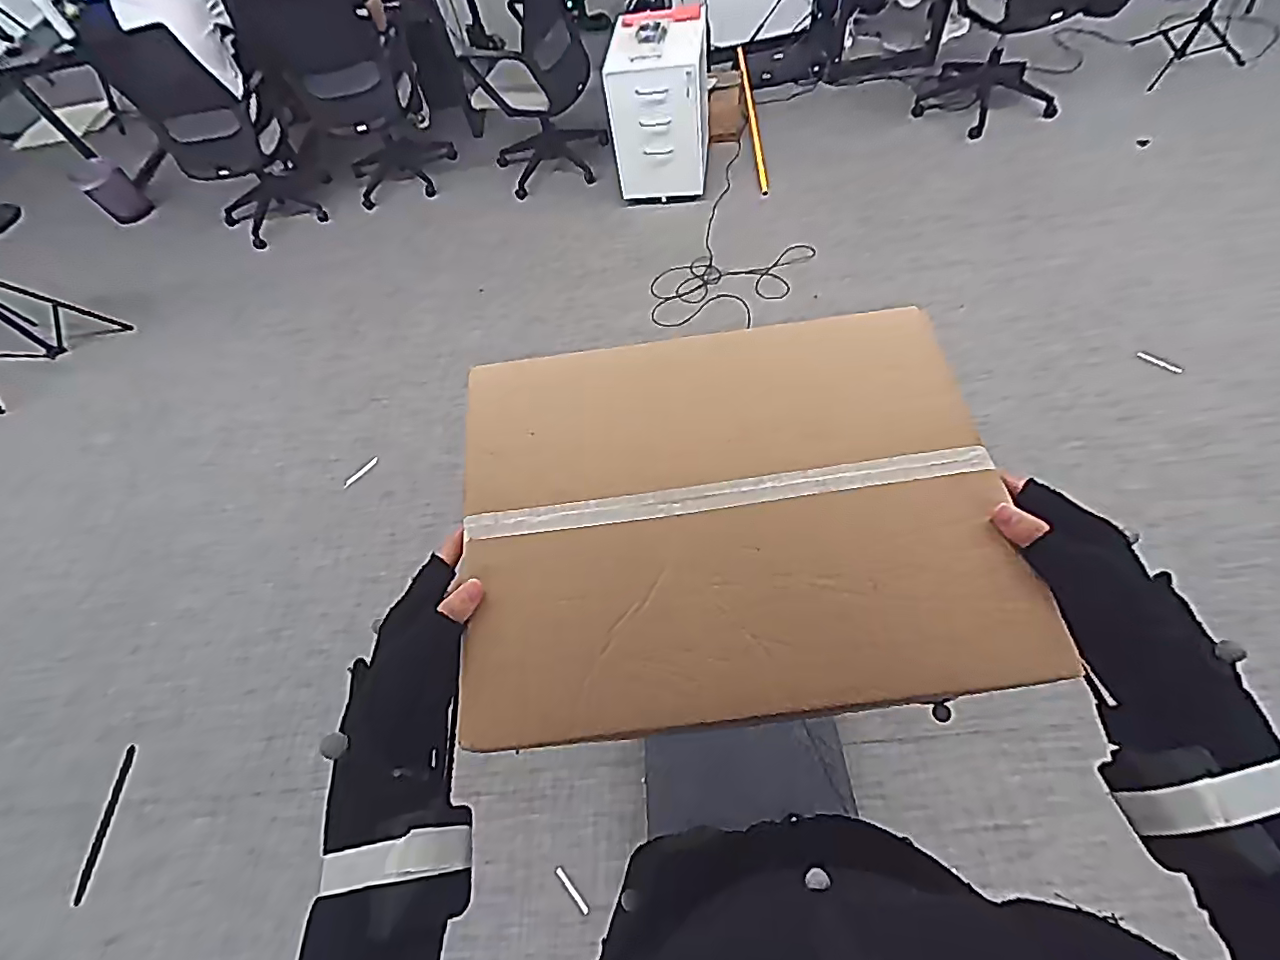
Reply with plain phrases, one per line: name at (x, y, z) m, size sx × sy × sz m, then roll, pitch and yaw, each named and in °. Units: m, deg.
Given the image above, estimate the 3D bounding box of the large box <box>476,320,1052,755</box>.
large box at (0.079, 0.082, 0.563) m, size 0.408 × 0.320 × 0.320 m, roll -8°, pitch 64°, yaw 2°
